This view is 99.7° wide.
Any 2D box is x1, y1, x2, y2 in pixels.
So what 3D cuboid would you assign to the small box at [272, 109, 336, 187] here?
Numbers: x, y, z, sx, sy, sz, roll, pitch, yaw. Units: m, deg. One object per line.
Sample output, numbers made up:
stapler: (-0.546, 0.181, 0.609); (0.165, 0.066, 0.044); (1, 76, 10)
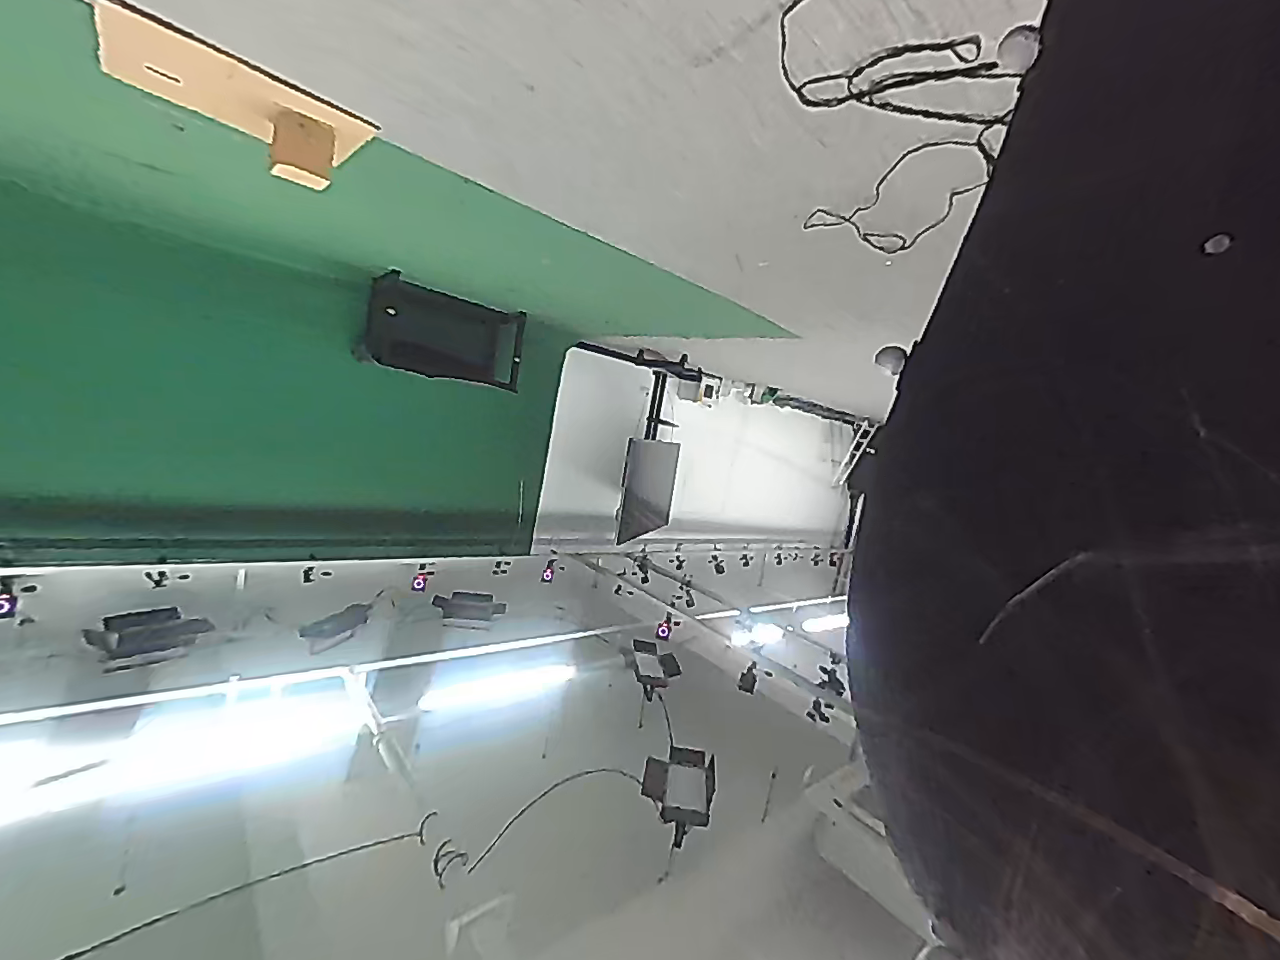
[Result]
small box: (-1.210, -1.192, 1.949); (0.168, 0.176, 0.179); (3, -171, -42)
